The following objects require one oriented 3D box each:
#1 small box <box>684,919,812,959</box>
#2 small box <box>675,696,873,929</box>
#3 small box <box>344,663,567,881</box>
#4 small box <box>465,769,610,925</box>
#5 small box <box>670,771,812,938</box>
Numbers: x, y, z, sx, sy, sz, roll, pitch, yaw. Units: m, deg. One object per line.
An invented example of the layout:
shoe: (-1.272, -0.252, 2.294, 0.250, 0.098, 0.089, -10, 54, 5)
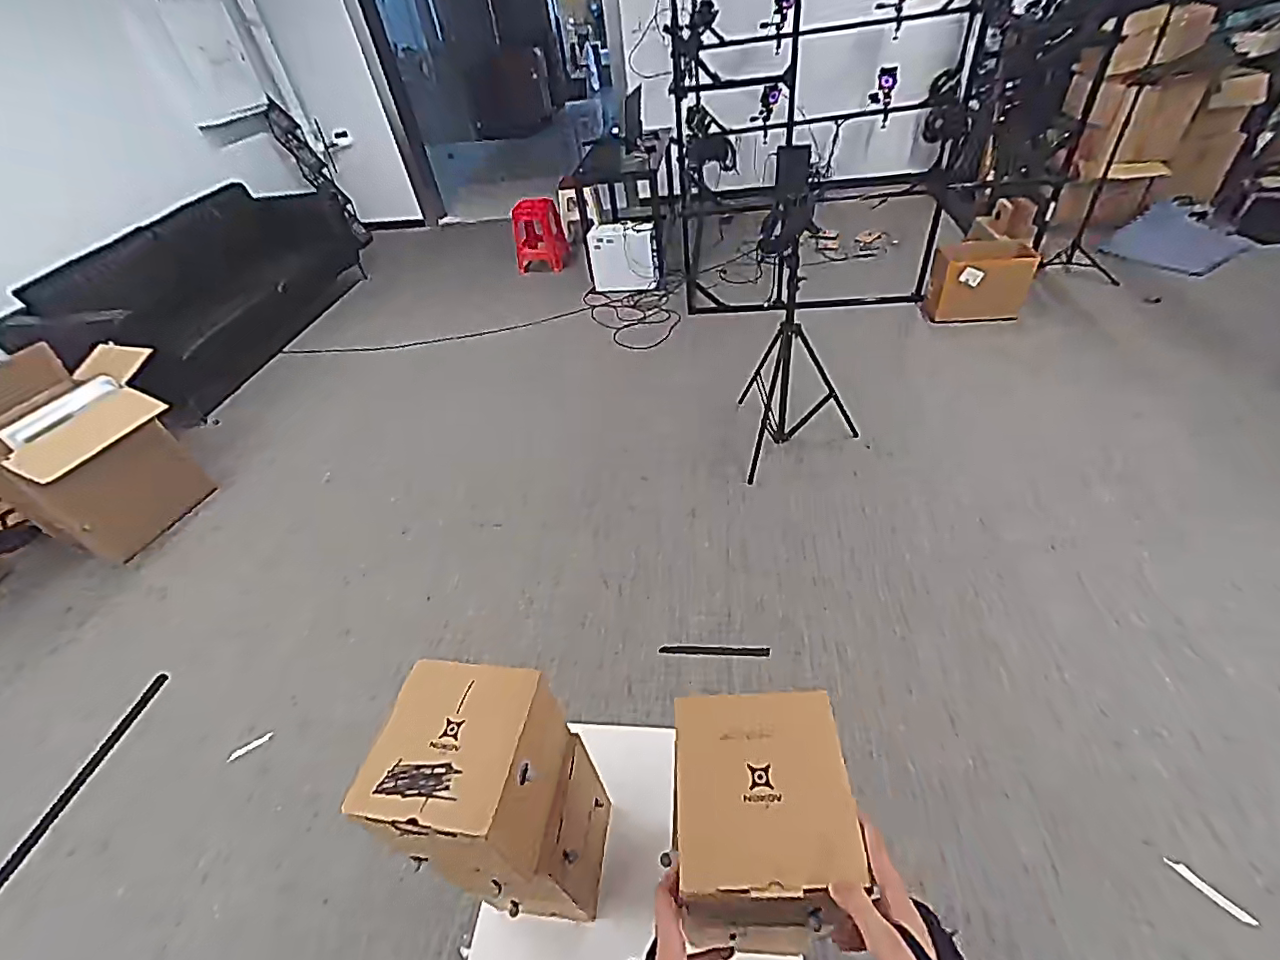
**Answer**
small box: (0.154, 0.583, 0.804, 0.168, 0.176, 0.179, -4, 42, 8)
small box: (0.127, 0.353, 0.571, 0.168, 0.176, 0.179, -5, 42, 5)
small box: (-0.196, 0.345, 0.639, 0.168, 0.176, 0.179, 1, 42, 12)
small box: (-0.149, 0.582, 0.863, 0.168, 0.176, 0.179, 0, 43, 9)
small box: (0.133, 0.462, 0.694, 0.168, 0.176, 0.179, -2, 42, 8)
